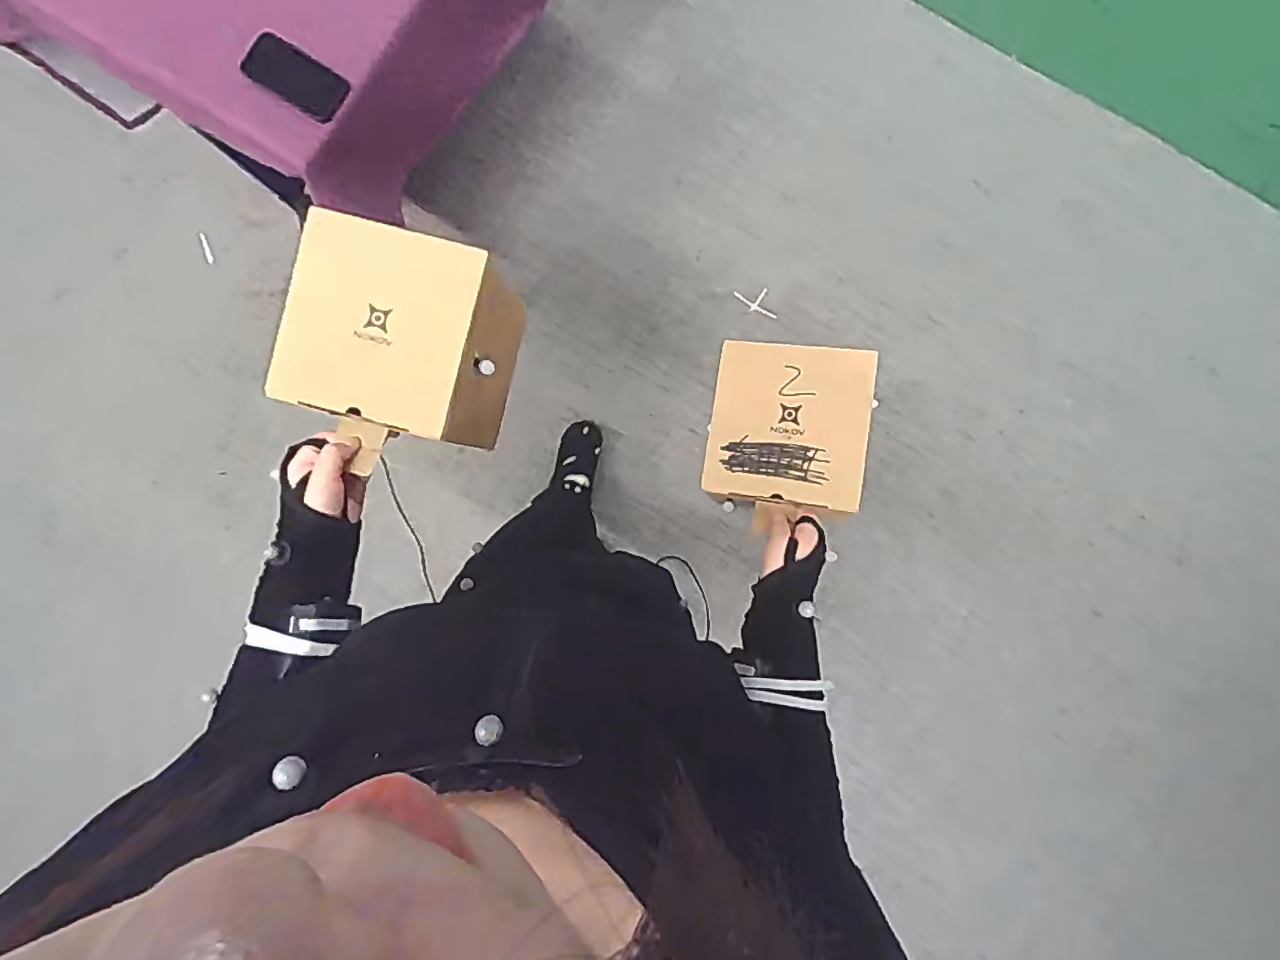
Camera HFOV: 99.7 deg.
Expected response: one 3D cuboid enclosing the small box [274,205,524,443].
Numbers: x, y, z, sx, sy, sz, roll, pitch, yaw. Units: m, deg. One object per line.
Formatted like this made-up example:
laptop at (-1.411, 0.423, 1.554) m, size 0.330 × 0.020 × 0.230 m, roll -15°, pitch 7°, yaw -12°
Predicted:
small box at (-0.231, -0.145, 0.568) m, size 0.168 × 0.176 × 0.179 m, roll 15°, pitch 91°, yaw 0°
